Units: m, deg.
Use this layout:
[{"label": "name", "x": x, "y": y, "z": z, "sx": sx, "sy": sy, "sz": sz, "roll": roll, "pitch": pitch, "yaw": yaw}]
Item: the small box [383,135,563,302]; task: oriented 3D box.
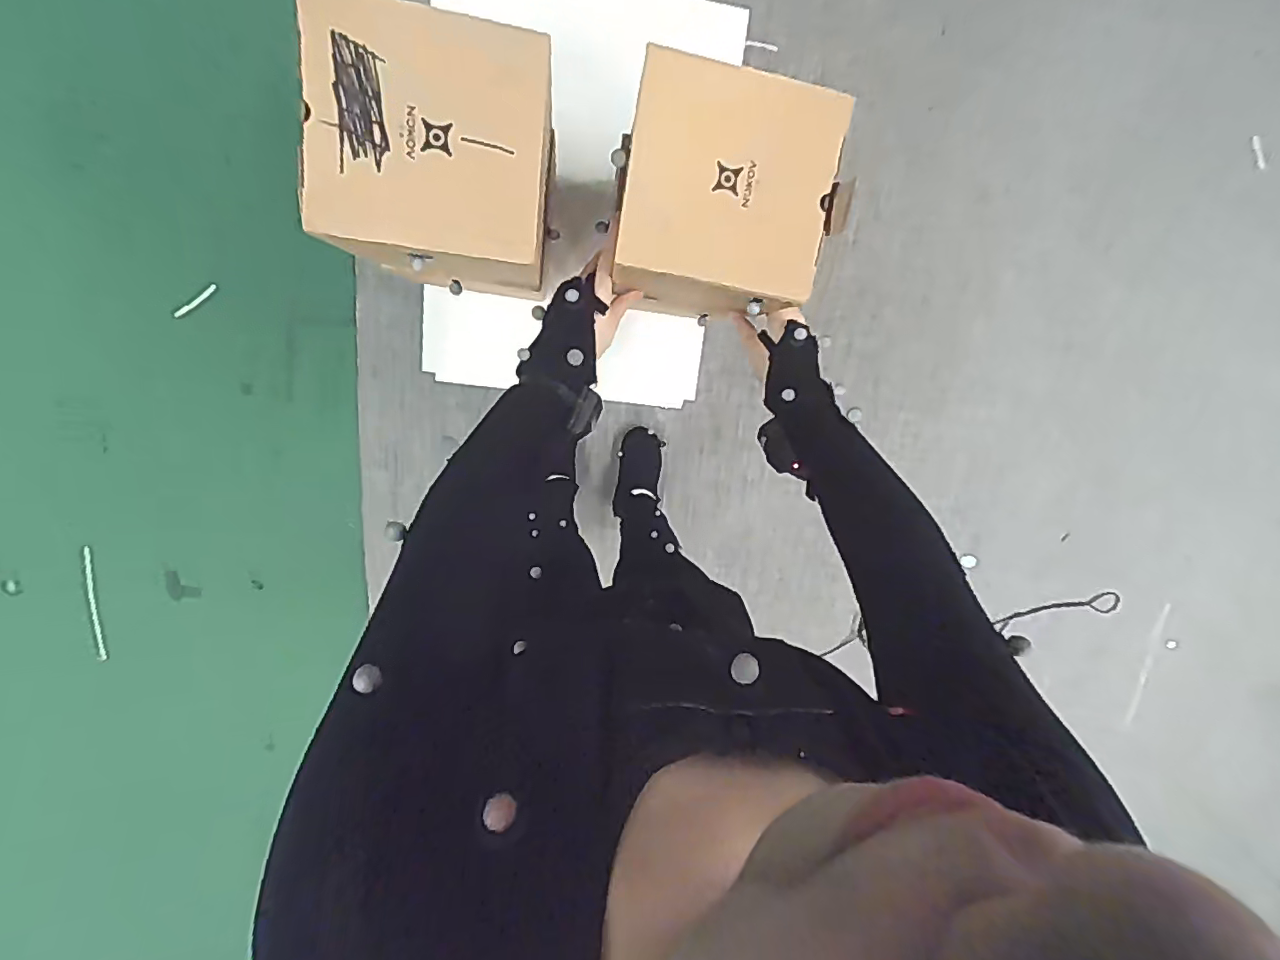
[{"label": "small box", "x": -0.188, "y": -0.311, "z": 0.645, "sx": 0.179, "sy": 0.176, "sz": 0.168, "roll": 5, "pitch": 104, "yaw": -10}]

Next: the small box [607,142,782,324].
[{"label": "small box", "x": 0.055, "y": -0.292, "z": 0.681, "sx": 0.179, "sy": 0.176, "sz": 0.168, "roll": 5, "pitch": 102, "yaw": -6}]

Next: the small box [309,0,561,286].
[{"label": "small box", "x": -0.166, "y": -0.275, "z": 0.484, "sx": 0.179, "sy": 0.176, "sz": 0.168, "roll": 4, "pitch": 103, "yaw": -10}]
